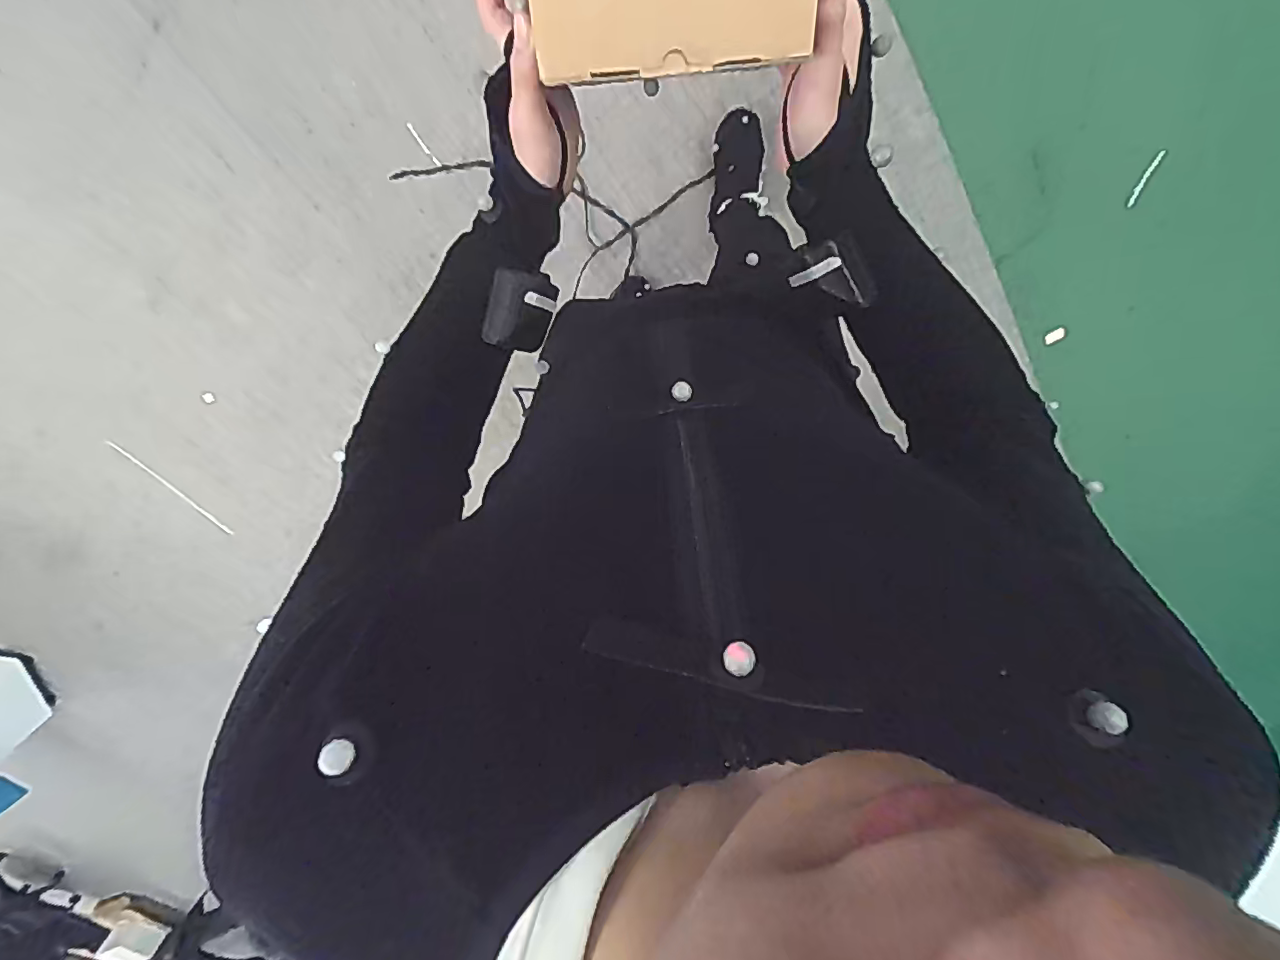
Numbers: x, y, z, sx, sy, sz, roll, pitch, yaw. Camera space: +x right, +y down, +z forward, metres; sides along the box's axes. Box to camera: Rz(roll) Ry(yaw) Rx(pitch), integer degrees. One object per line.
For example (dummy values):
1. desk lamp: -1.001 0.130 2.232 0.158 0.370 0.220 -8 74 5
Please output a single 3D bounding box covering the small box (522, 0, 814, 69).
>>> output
1. small box: 0.009 -0.365 0.326 0.168 0.176 0.179 -4 128 3
